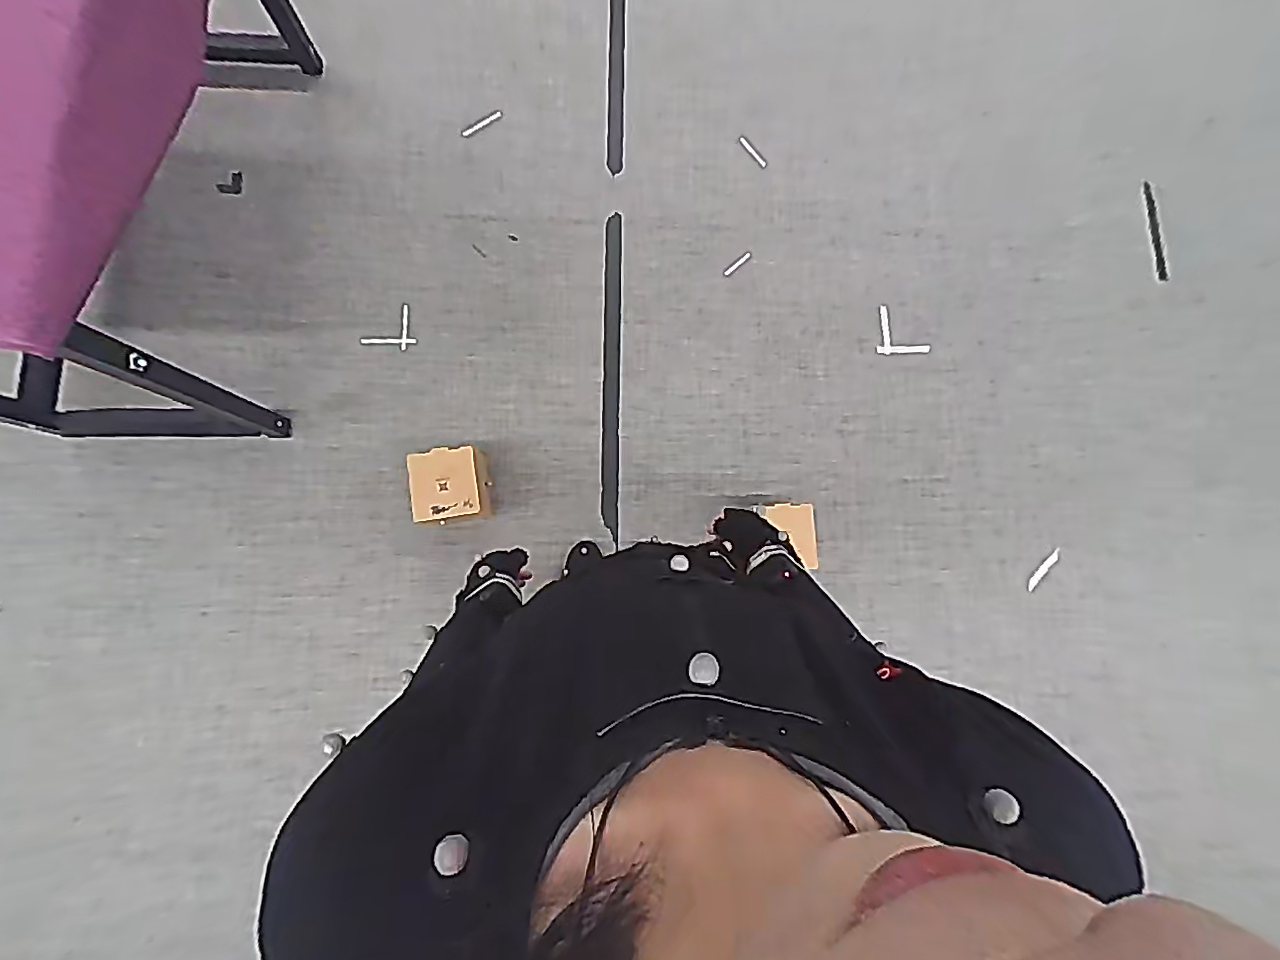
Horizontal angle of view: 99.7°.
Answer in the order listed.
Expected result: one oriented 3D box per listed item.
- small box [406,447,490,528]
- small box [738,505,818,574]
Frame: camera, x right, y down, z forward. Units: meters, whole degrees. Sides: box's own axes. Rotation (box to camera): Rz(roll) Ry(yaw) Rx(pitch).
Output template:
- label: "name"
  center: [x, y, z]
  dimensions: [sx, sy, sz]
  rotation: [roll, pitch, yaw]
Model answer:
- label: "small box"
  center: [-0.499, 0.024, 1.424]
  dimensions: [0.168, 0.176, 0.179]
  rotation: [-8, 82, -6]
- label: "small box"
  center: [0.371, 0.165, 1.482]
  dimensions: [0.168, 0.176, 0.179]
  rotation: [-3, 83, -4]
